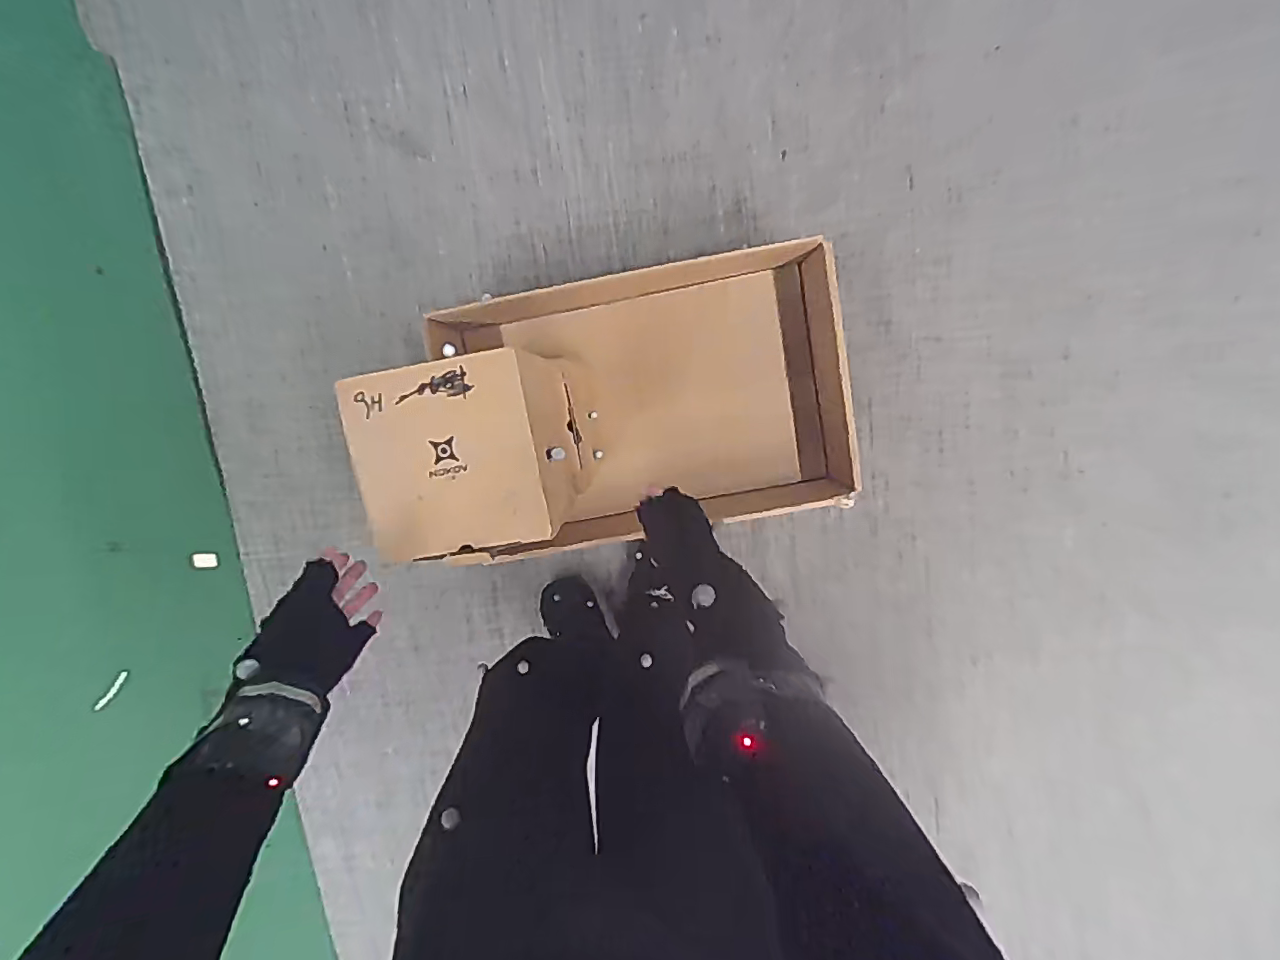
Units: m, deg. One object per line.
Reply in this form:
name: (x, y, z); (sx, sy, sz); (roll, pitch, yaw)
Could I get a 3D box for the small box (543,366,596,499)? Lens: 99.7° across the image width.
small box: (-0.160, -0.057, 0.730); (0.179, 0.176, 0.168); (-10, 99, 4)

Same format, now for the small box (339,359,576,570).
small box: (-0.171, -0.026, 0.570); (0.168, 0.176, 0.179); (-11, 100, 3)
